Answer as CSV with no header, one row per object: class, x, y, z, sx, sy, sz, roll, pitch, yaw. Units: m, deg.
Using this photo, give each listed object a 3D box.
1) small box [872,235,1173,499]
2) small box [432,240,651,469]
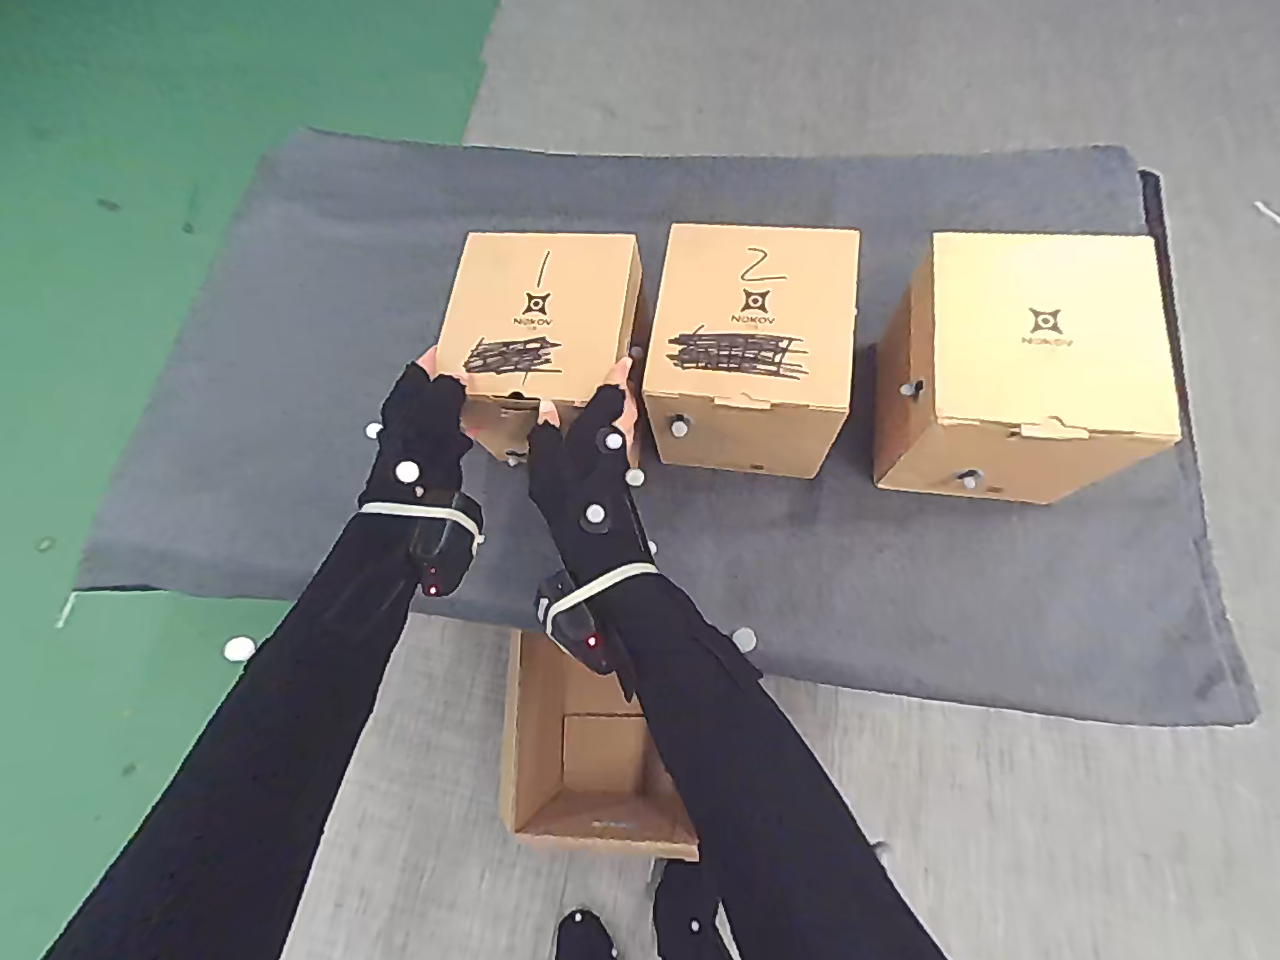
small box,0.322,-0.094,0.499,0.168,0.176,0.179,5,73,9
small box,-0.084,-0.120,0.562,0.168,0.176,0.179,4,72,9
